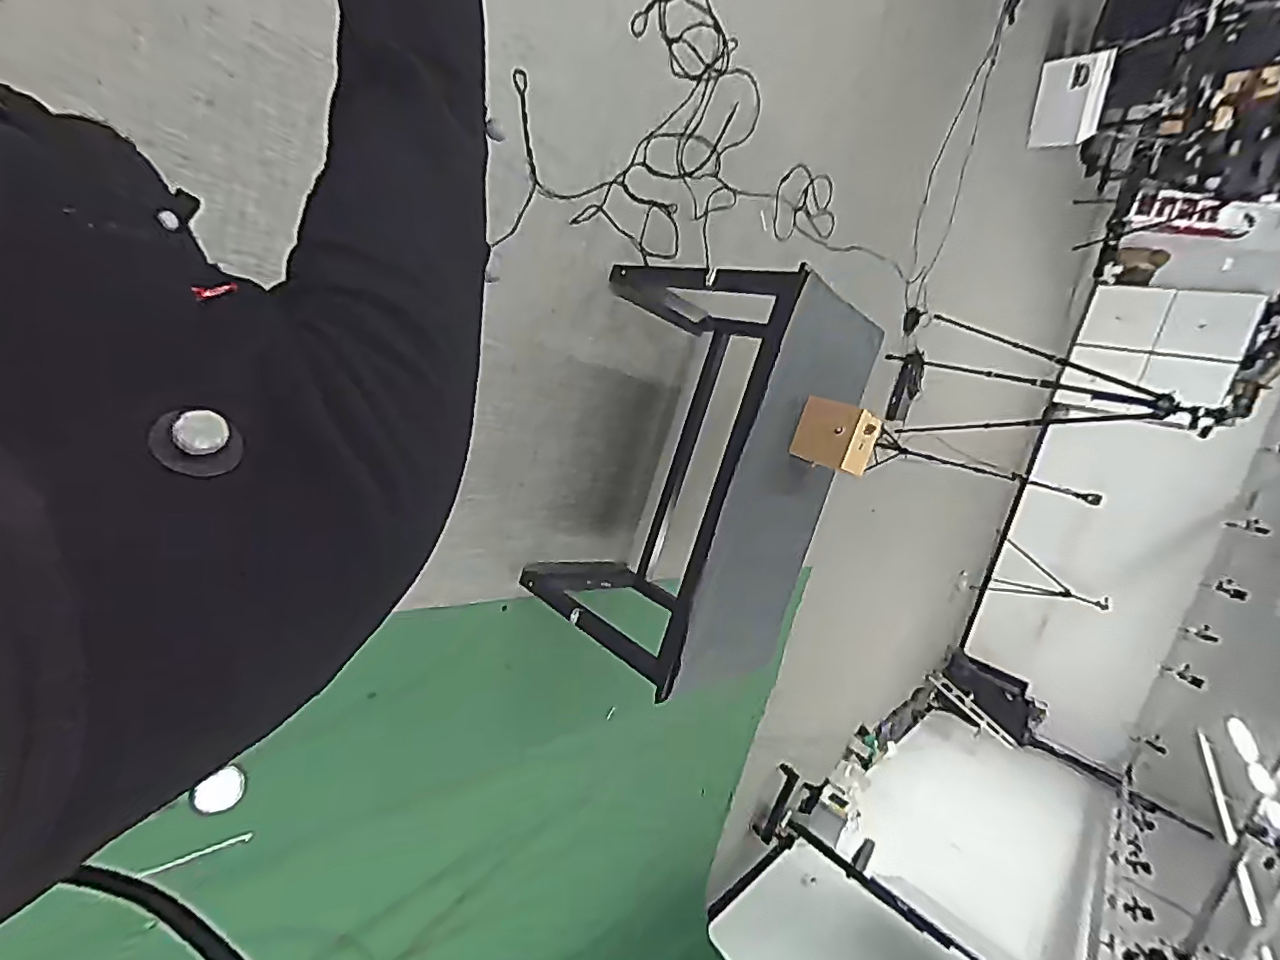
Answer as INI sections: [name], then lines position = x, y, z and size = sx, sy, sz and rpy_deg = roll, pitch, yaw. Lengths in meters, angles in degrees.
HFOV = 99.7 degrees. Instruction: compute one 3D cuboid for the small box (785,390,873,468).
[small box]
position = 0.549, -0.150, 1.581
size = 0.168, 0.176, 0.179
rpy_deg = 13, 98, -49
